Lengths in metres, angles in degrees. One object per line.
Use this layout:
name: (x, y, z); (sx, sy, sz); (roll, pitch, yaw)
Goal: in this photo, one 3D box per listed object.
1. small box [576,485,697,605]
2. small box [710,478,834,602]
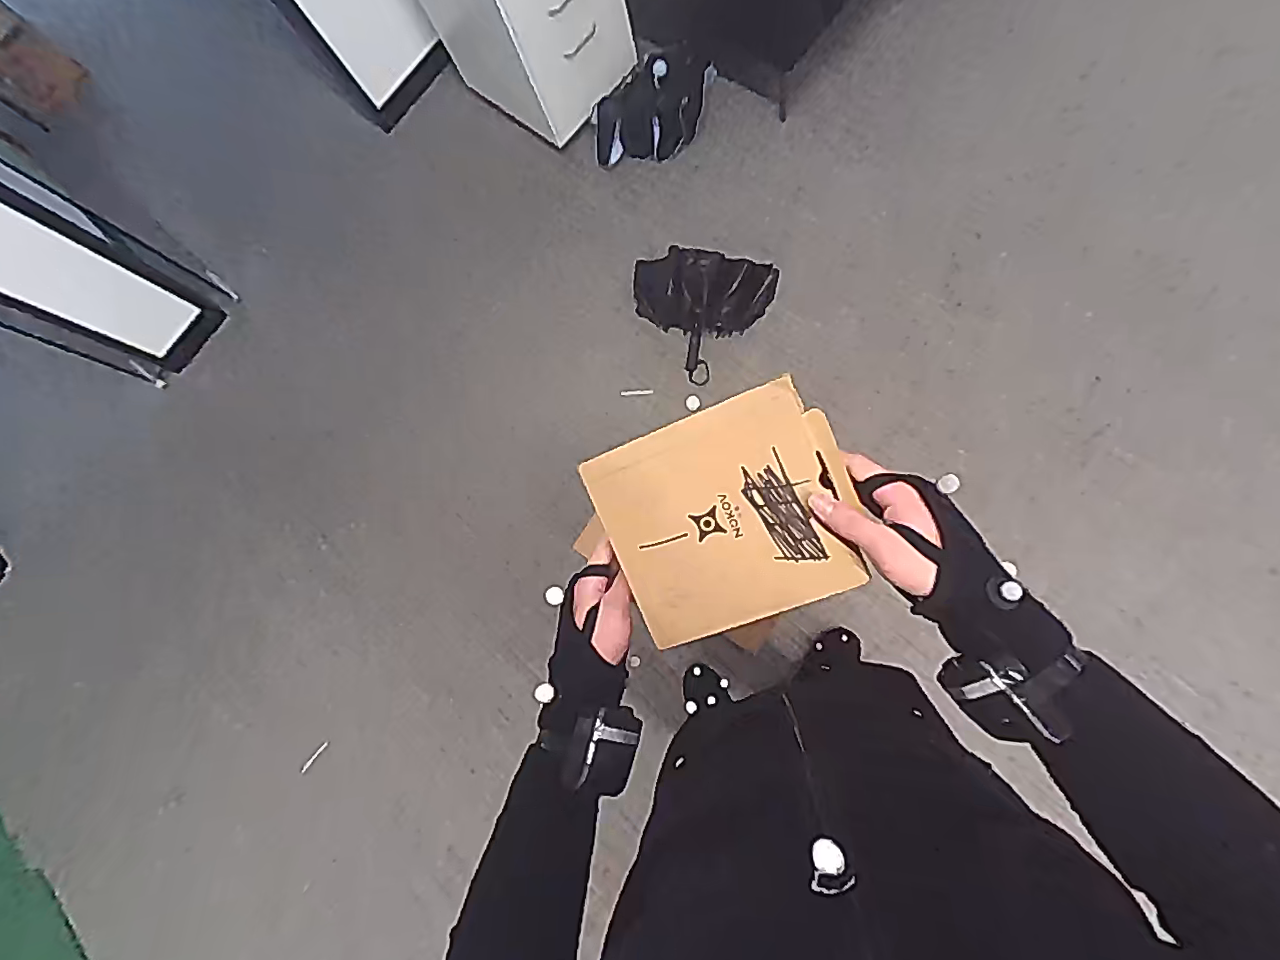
small box: (0.004, 0.136, 1.112); (0.168, 0.176, 0.179); (32, 89, 19)
small box: (0.256, 0.125, 1.053); (0.168, 0.176, 0.179); (29, 83, 18)
